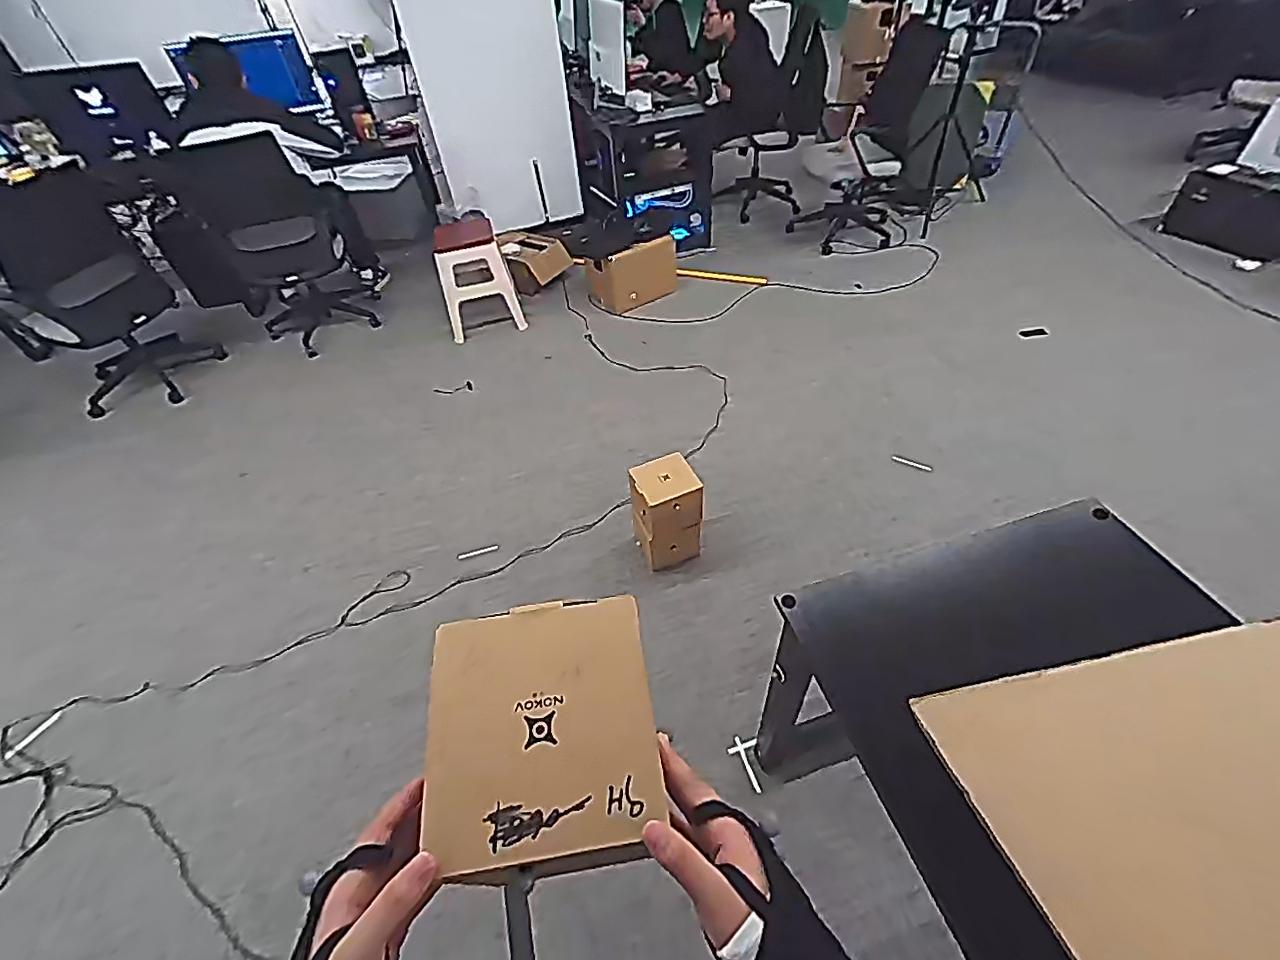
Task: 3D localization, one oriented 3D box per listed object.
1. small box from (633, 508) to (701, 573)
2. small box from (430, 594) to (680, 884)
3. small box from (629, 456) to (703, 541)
[{"bbox_3d":[0.089,0.176,1.784,0.179,0.176,0.168,-18,47,-11],"label":"small box"},{"bbox_3d":[-0.063,0.224,0.464,0.168,0.176,0.179,-9,52,-3],"label":"small box"},{"bbox_3d":[0.082,0.061,1.669,0.179,0.176,0.168,-20,48,-14],"label":"small box"}]
